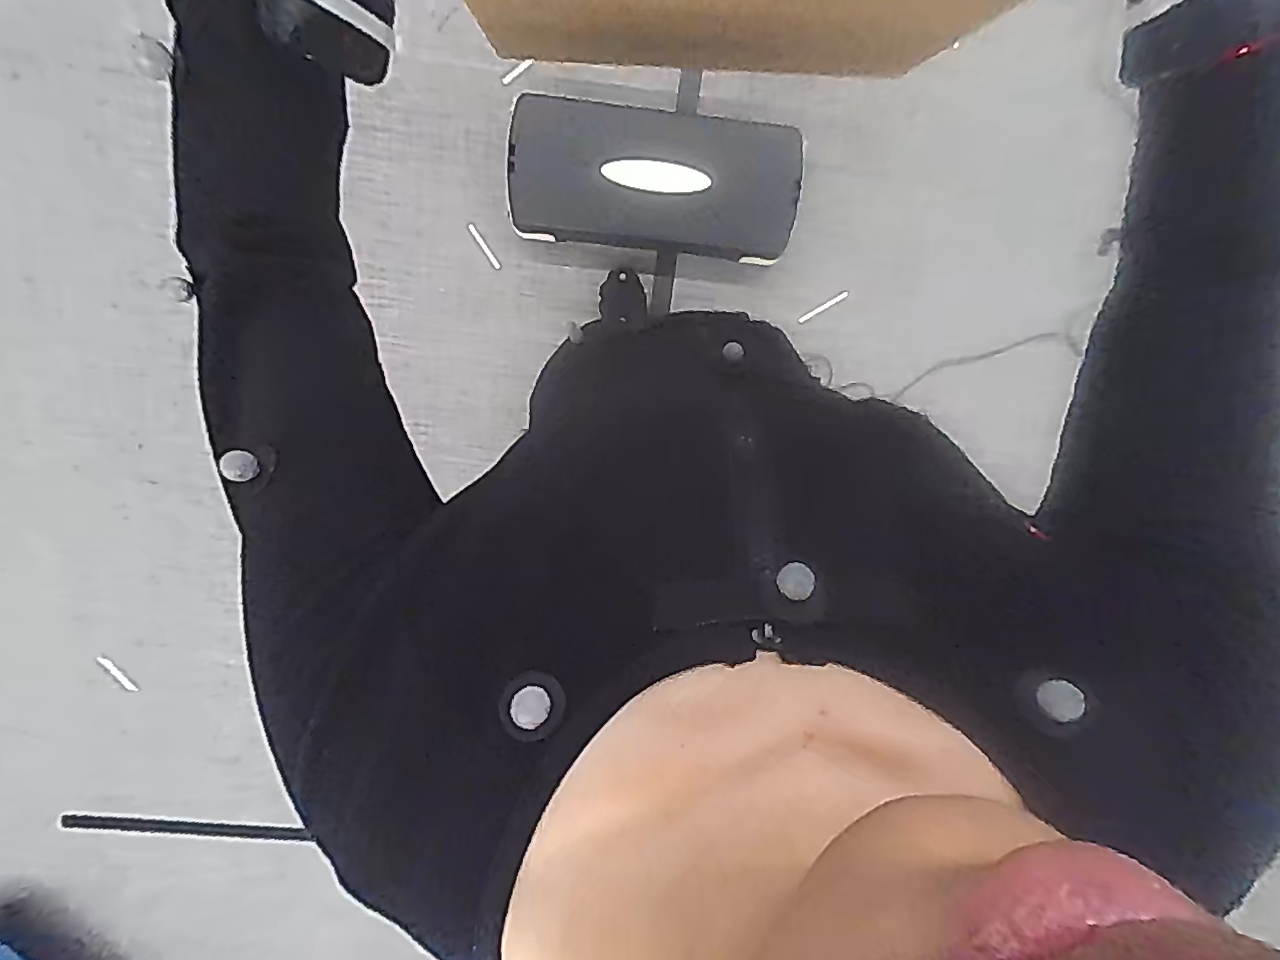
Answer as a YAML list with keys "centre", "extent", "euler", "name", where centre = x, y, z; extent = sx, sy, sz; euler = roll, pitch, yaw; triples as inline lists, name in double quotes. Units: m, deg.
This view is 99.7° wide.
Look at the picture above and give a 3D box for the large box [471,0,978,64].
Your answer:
- centre: [0.065, -0.500, 0.342]
  extent: [0.408, 0.320, 0.320]
  euler: [0, 113, -3]
  name: "large box"
